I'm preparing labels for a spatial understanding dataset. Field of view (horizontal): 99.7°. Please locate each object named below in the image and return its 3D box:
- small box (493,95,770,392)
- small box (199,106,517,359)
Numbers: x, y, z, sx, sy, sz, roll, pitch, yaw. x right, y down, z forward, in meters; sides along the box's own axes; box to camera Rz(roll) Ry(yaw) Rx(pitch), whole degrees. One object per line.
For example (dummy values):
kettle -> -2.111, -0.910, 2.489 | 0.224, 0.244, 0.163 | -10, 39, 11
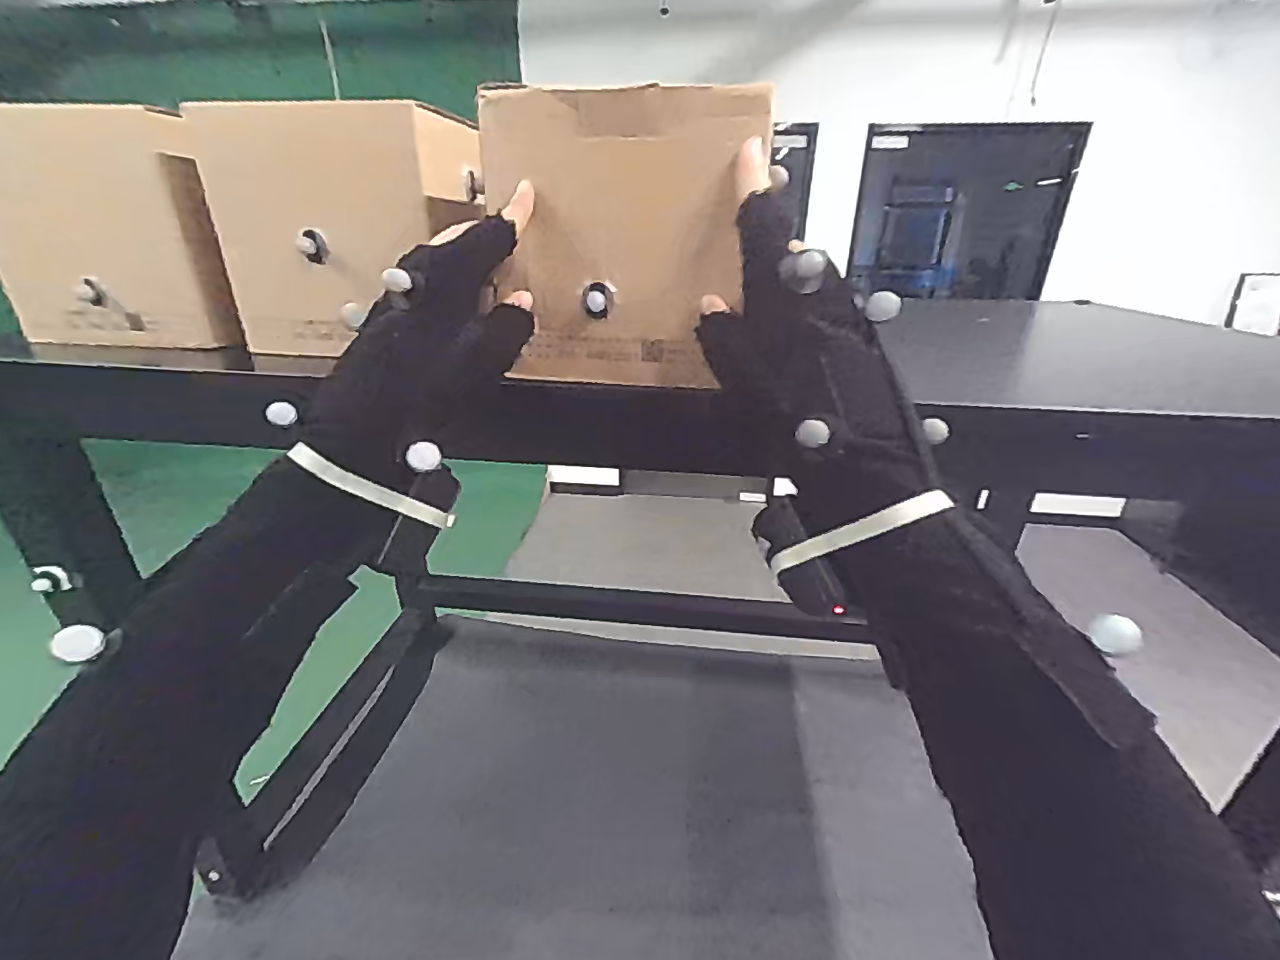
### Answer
small box -> 0.002, -0.174, 0.414 | 0.168, 0.176, 0.179 | 4, 25, 7
small box -> -0.213, -0.204, 0.470 | 0.168, 0.176, 0.179 | 3, 24, 7
